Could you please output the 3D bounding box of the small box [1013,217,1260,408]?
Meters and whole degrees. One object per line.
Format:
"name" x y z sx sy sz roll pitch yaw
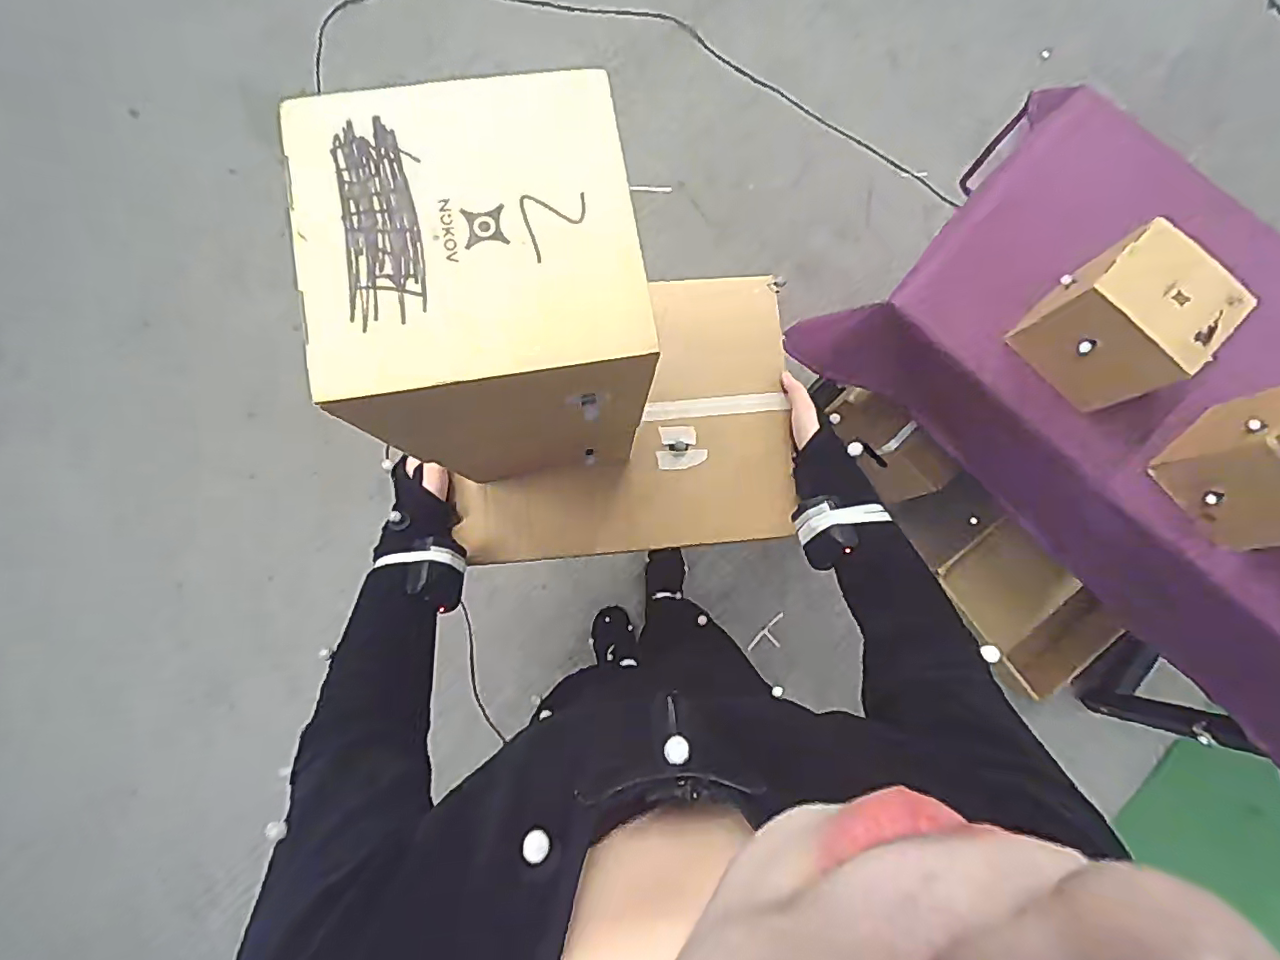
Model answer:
"small box" 0.714 -0.236 0.803 0.168 0.176 0.179 -42 83 -8

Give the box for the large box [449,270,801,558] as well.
"large box" -0.035 -0.069 0.773 0.408 0.320 0.320 -5 85 -5

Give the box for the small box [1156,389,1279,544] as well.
"small box" 0.922 -0.024 0.776 0.179 0.176 0.168 -38 83 -8

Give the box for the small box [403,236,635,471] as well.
"small box" -0.106 -0.108 0.527 0.179 0.176 0.168 -9 83 -4
